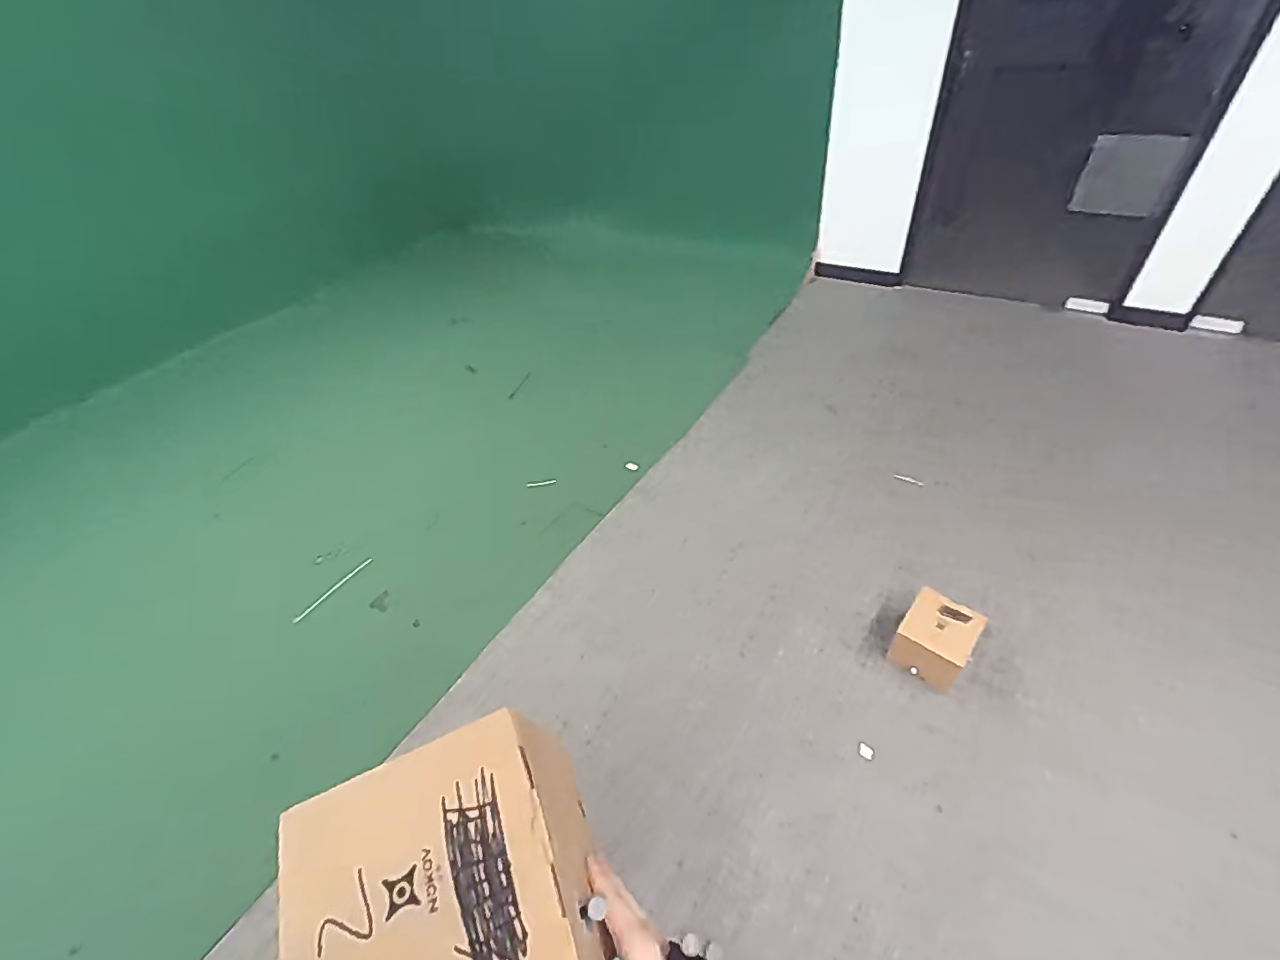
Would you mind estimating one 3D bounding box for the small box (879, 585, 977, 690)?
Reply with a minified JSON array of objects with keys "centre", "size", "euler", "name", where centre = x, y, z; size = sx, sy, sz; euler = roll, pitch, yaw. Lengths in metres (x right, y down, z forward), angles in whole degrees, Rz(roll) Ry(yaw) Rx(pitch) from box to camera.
[{"centre":[0.769,0.427,1.460],"size":[0.168,0.176,0.179],"euler":[29,57,31],"name":"small box"}]
